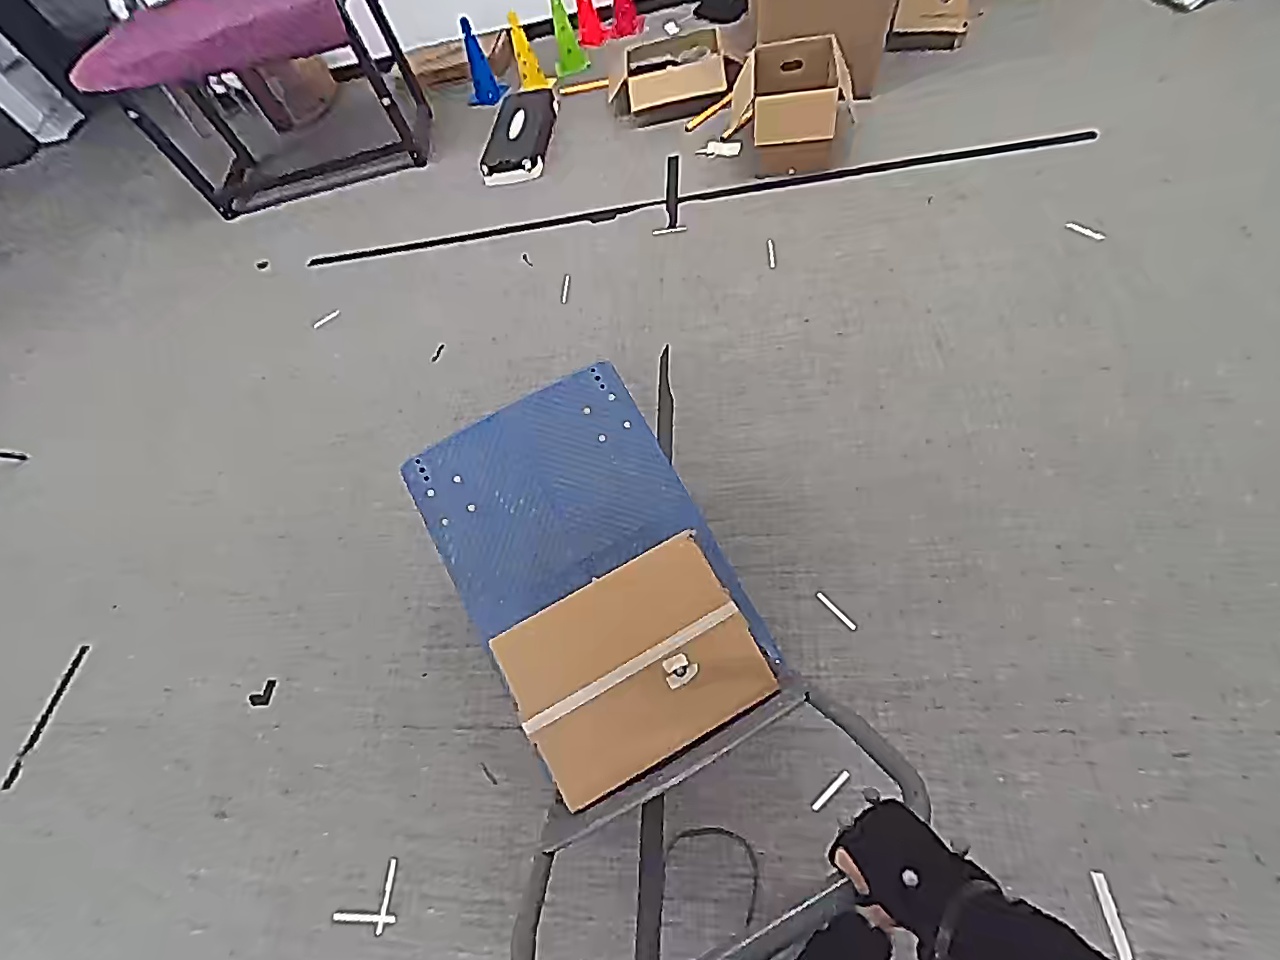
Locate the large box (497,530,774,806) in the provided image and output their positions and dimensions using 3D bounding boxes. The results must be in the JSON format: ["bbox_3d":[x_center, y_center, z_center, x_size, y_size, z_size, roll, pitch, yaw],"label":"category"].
[{"bbox_3d":[-0.011,0.350,1.088,0.408,0.320,0.320,-29,81,-6],"label":"large box"}]
